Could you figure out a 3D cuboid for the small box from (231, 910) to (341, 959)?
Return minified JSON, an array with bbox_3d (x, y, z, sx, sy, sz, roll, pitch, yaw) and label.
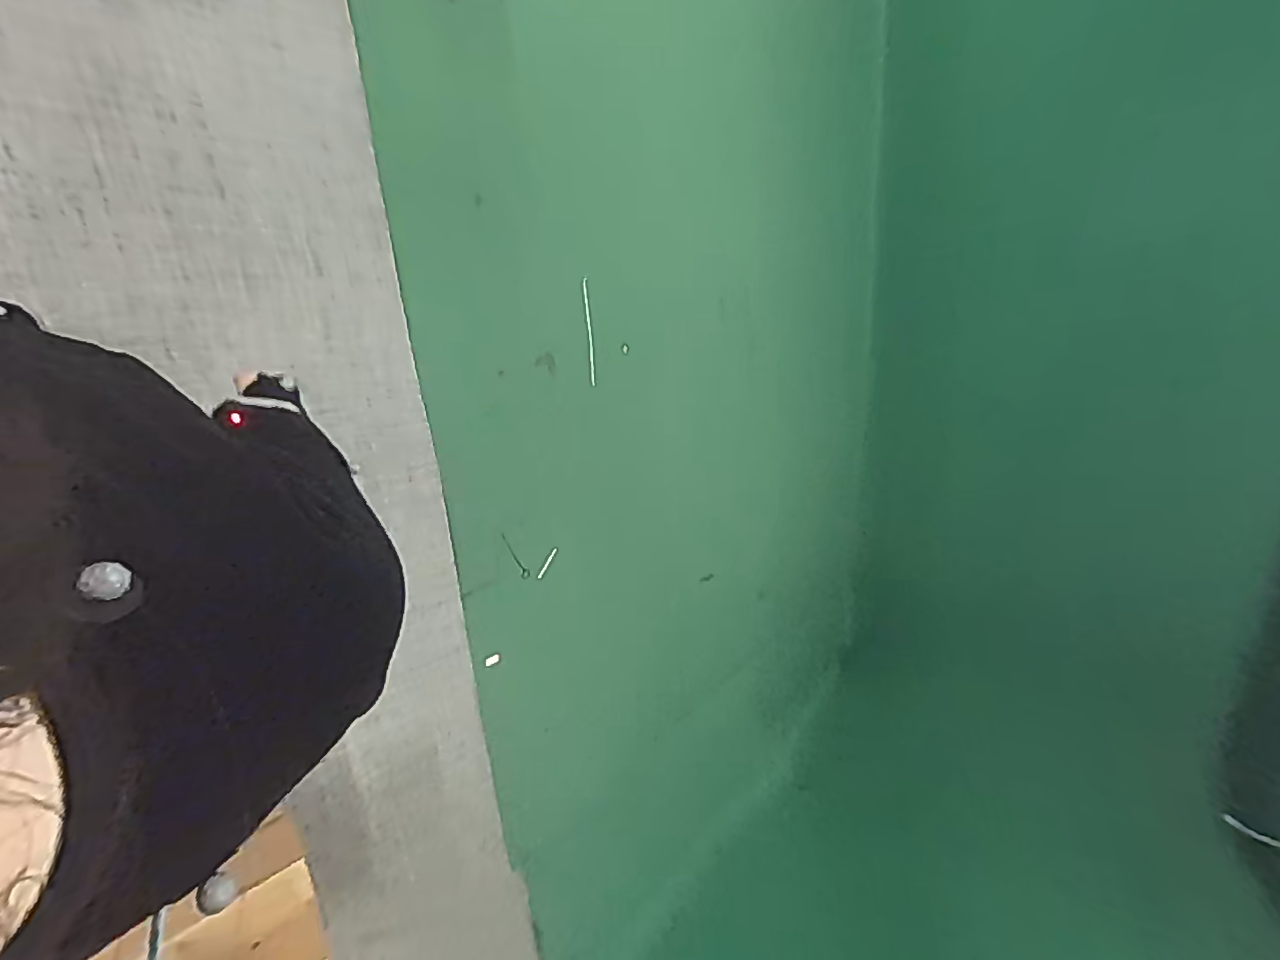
[{"bbox_3d":[-0.734,1.061,1.135,0.168,0.176,0.179,-17,113,-44],"label":"small box"}]
